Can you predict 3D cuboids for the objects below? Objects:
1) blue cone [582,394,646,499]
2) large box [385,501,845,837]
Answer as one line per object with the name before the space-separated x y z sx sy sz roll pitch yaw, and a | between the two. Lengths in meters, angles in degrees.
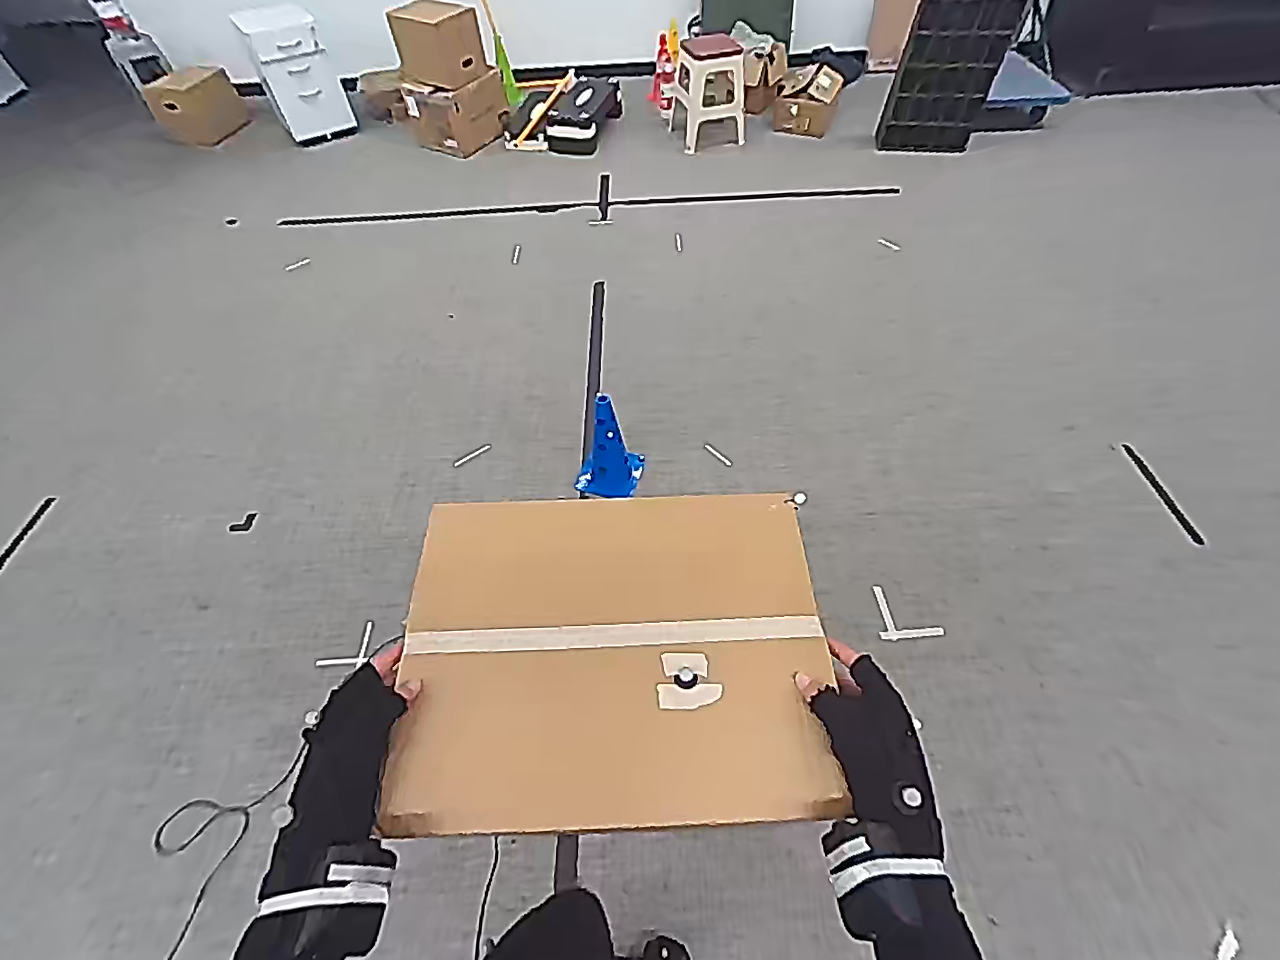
blue cone | -0.093 -0.120 1.726 0.193 0.380 0.192 15 55 13
large box | -0.027 0.242 0.664 0.408 0.320 0.320 -1 57 -1
